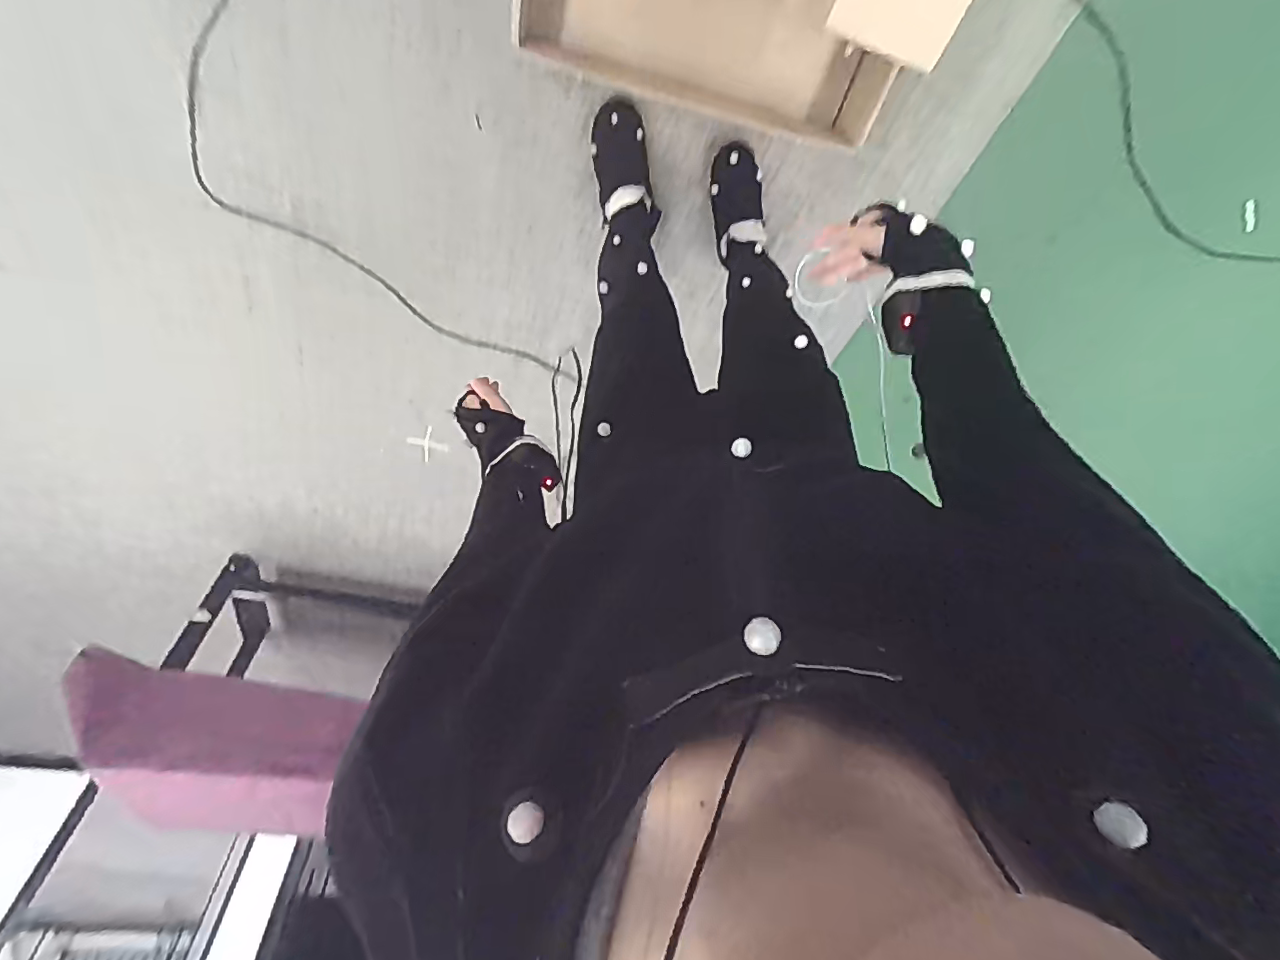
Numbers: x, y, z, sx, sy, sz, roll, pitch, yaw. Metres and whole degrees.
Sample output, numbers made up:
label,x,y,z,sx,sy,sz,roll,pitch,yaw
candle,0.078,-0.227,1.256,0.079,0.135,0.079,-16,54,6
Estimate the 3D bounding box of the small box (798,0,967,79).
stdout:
label,x,y,z,sx,sy,sz,roll,pitch,yaw
small box,0.327,-0.672,0.710,0.168,0.176,0.179,11,133,-15
